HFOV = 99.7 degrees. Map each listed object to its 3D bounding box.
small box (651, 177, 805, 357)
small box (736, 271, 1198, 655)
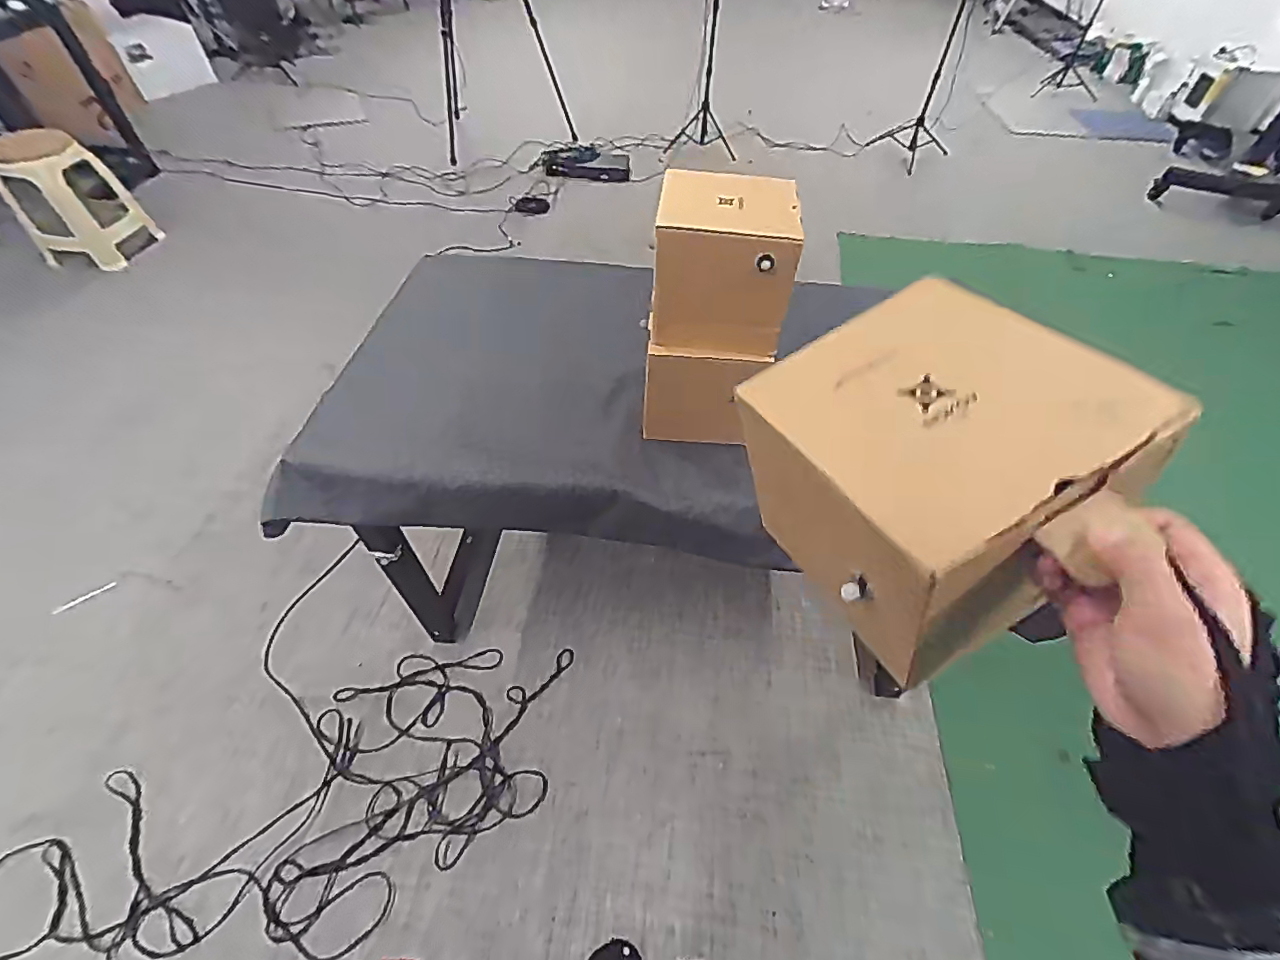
[{"bbox_3d":[0.111,-0.286,0.733,0.179,0.176,0.168,7,50,2],"label":"small box"},{"bbox_3d":[0.192,-0.004,0.373,0.168,0.176,0.179,-31,47,-6],"label":"small box"}]
